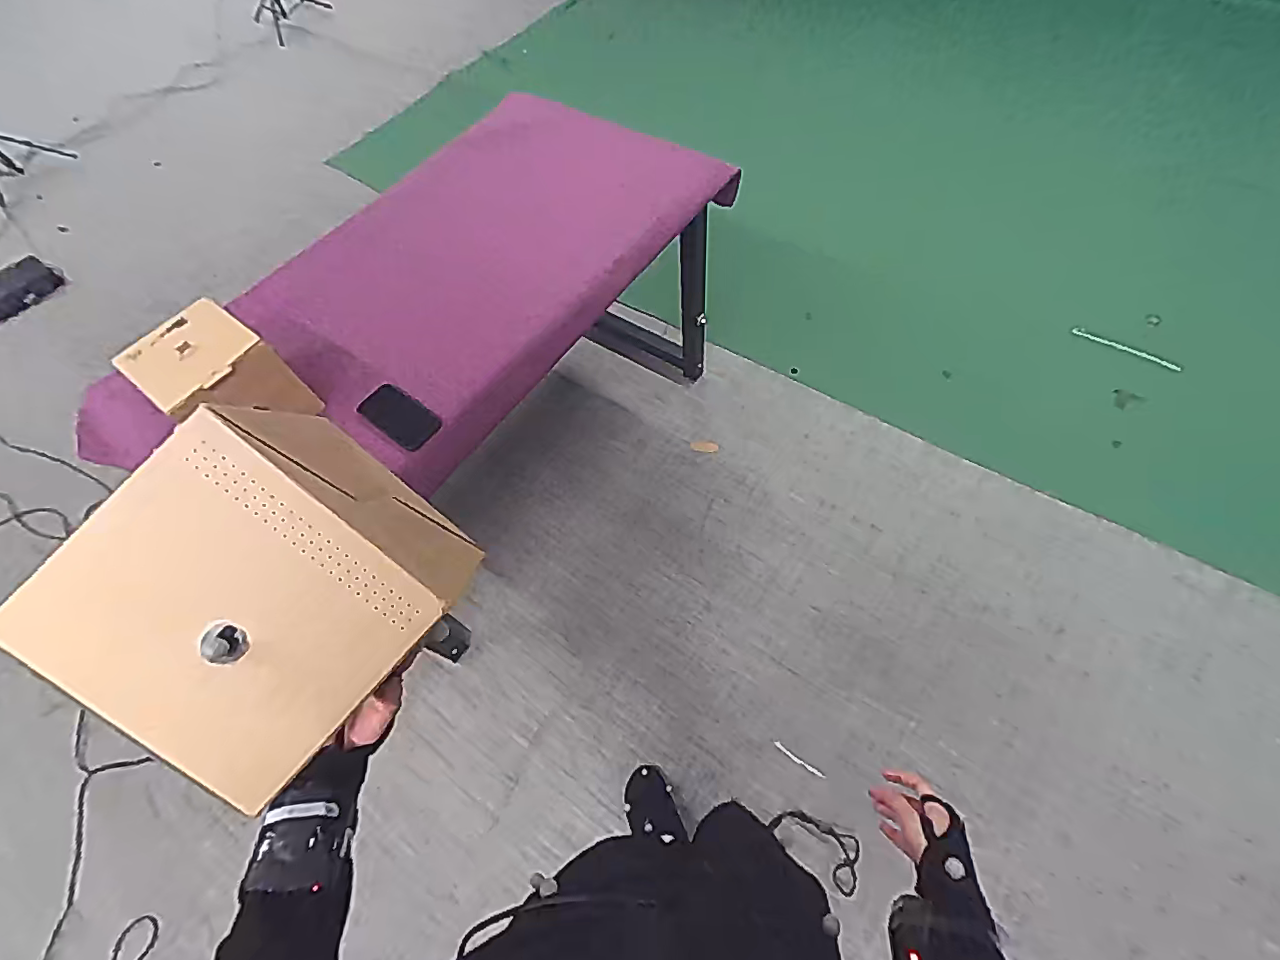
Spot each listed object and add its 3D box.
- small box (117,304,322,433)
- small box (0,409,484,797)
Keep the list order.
[{"bbox_3d":[-0.676,-0.148,0.891,0.179,0.176,0.168,33,68,20],"label":"small box"},{"bbox_3d":[-0.240,0.063,0.383,0.179,0.168,0.176,42,87,-8],"label":"small box"}]
